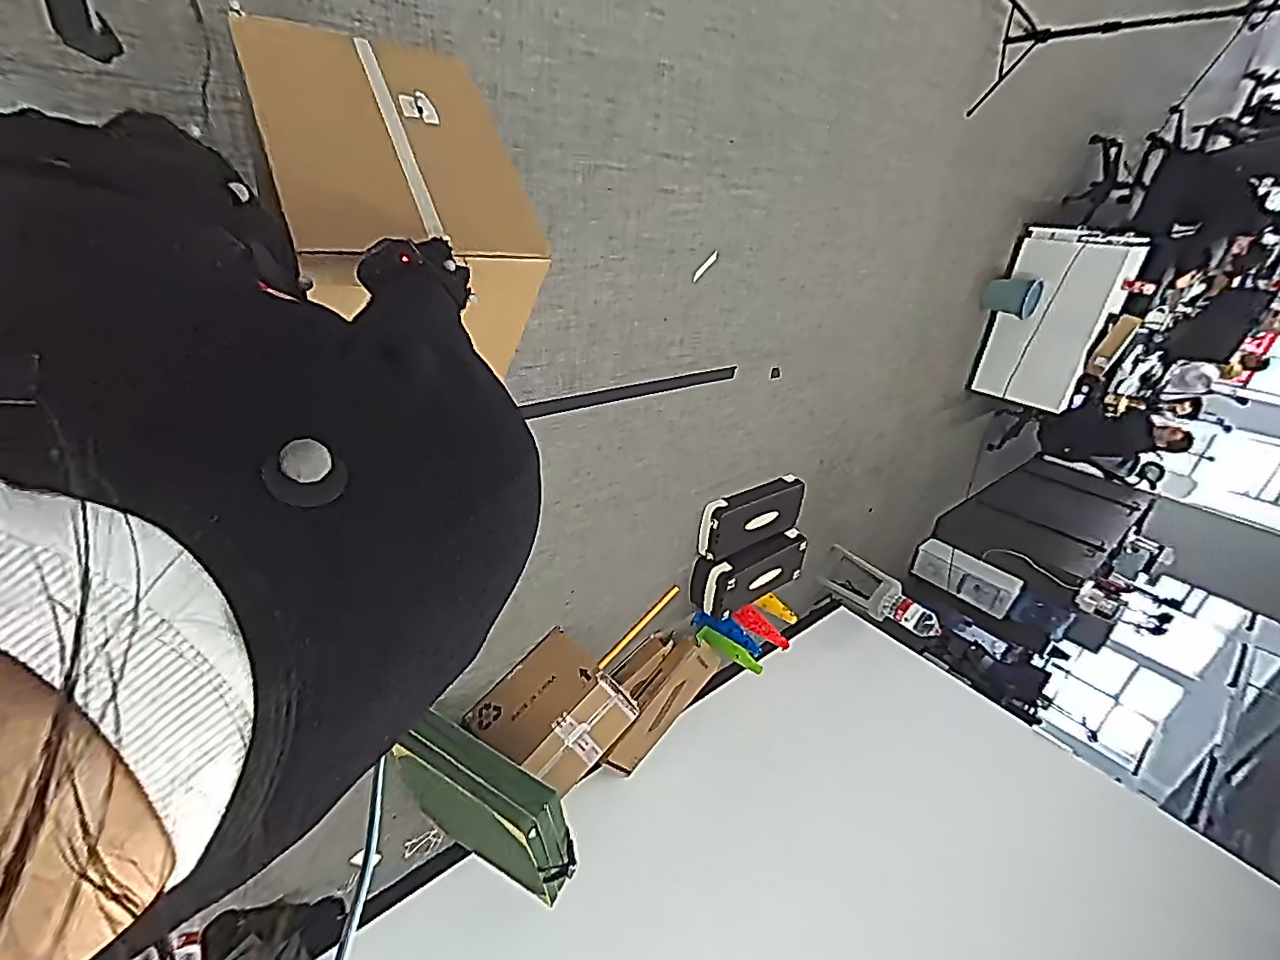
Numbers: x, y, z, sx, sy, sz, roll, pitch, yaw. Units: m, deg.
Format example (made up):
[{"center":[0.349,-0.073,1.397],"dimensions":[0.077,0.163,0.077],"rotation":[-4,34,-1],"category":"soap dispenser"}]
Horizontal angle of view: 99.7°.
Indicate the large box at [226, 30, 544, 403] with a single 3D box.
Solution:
[{"center":[-0.402,-0.386,0.859],"dimensions":[0.320,0.408,0.320],"rotation":[-14,161,-35],"category":"large box"}]
